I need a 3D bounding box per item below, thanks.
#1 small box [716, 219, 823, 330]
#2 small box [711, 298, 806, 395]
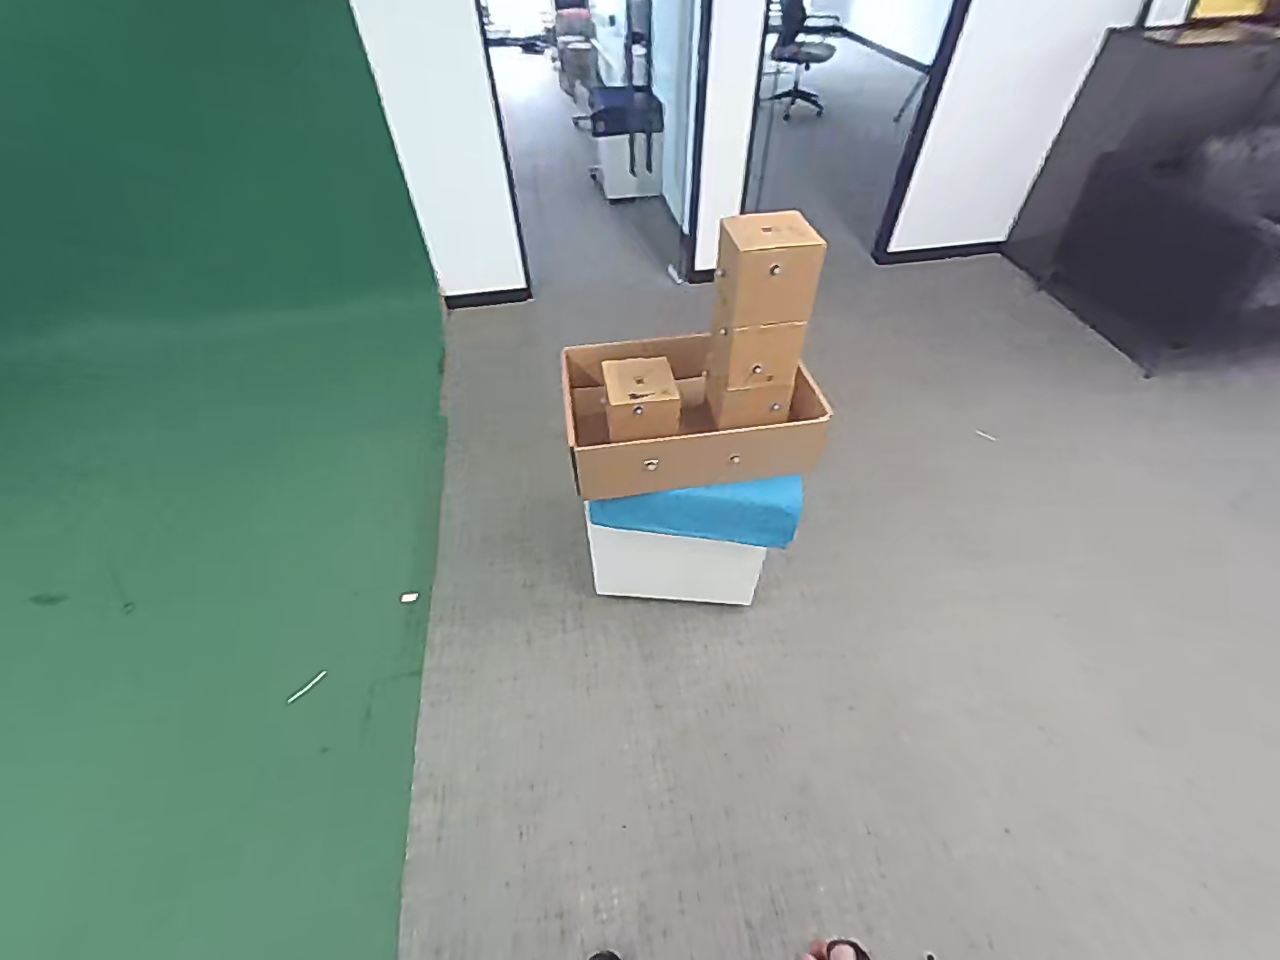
[{"bbox_3d":[0.265,-0.436,1.158,0.179,0.176,0.168,-6,47,-5],"label":"small box"},{"bbox_3d":[0.269,-0.322,1.277,0.168,0.176,0.179,-6,47,-5],"label":"small box"}]
